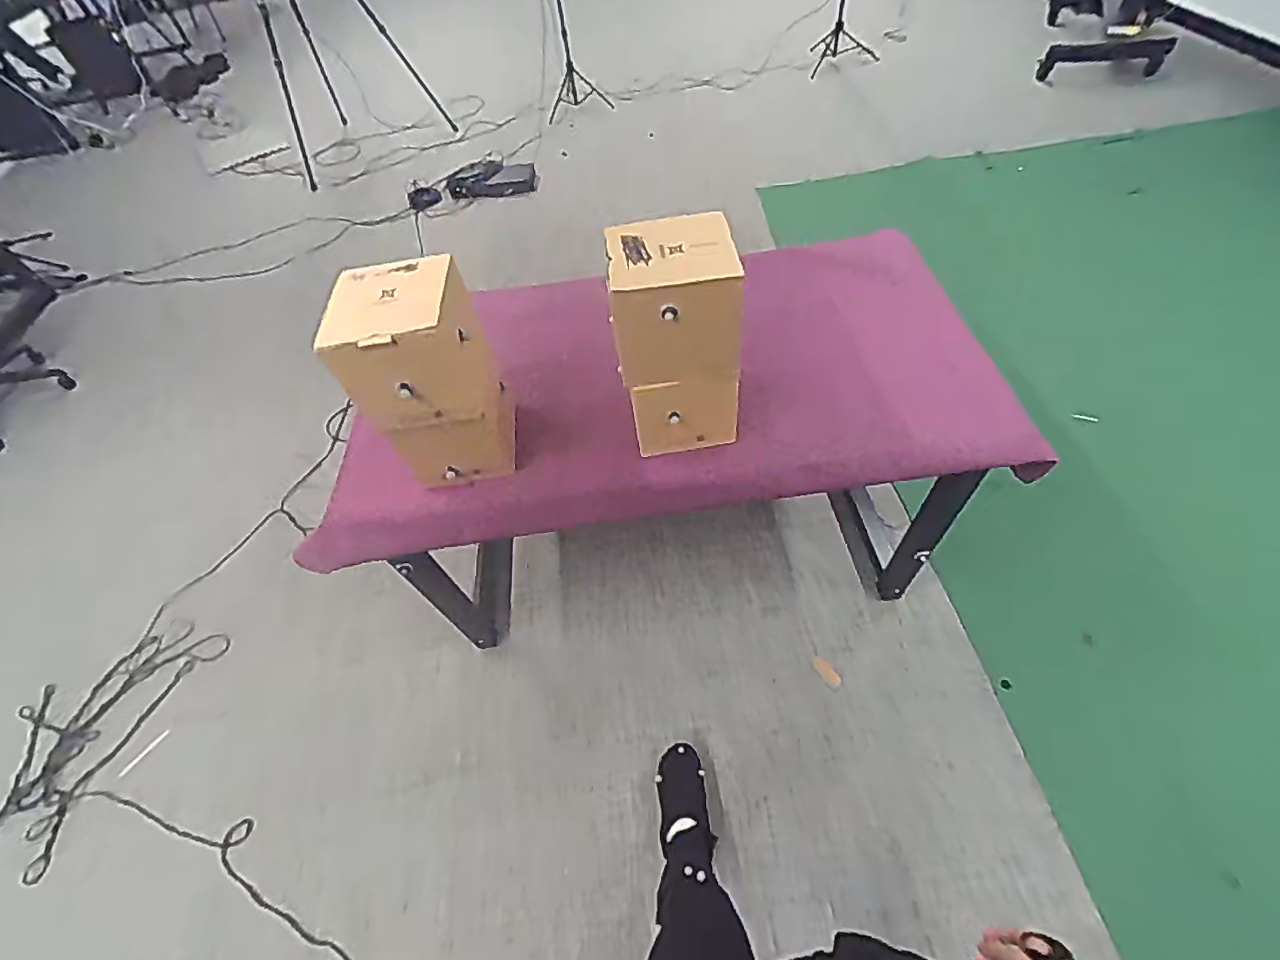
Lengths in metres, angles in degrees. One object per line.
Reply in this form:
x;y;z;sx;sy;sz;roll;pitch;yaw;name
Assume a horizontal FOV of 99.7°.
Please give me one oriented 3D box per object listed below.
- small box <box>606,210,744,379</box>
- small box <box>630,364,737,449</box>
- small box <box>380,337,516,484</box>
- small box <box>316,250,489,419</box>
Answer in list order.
0.051;-0.265;0.795;0.179;0.176;0.168;-7;53;2;small box
0.068;-0.169;0.927;0.168;0.176;0.179;-9;52;1;small box
-0.318;-0.118;0.937;0.168;0.176;0.179;-9;54;1;small box
-0.332;-0.204;0.798;0.168;0.176;0.179;-8;54;1;small box
